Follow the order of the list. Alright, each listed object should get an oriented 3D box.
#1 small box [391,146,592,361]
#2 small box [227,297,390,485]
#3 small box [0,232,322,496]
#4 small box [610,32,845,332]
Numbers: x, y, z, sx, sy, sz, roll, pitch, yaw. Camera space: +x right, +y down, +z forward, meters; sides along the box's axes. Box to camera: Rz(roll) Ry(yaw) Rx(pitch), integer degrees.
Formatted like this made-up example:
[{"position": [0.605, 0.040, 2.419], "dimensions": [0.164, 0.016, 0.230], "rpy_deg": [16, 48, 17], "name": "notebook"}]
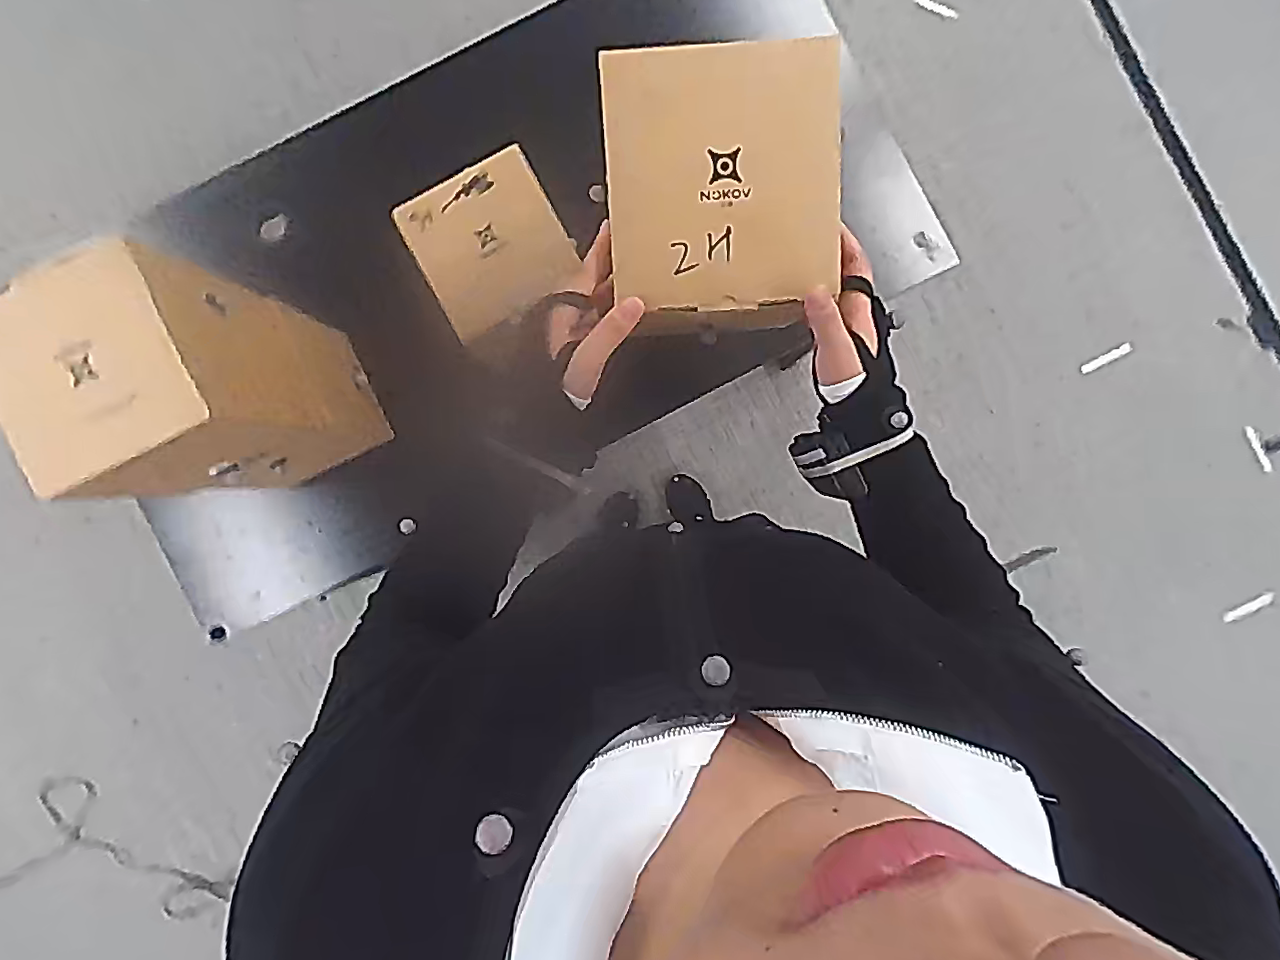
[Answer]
[{"position": [-0.174, -0.270, 0.698], "dimensions": [0.168, 0.176, 0.179], "rpy_deg": [-29, 90, 0], "name": "small box"}, {"position": [-0.464, -0.099, 0.695], "dimensions": [0.179, 0.176, 0.168], "rpy_deg": [-26, 90, -1], "name": "small box"}, {"position": [-0.465, -0.097, 0.532], "dimensions": [0.168, 0.176, 0.179], "rpy_deg": [-27, 91, 1], "name": "small box"}, {"position": [0.062, -0.229, 0.461], "dimensions": [0.168, 0.176, 0.179], "rpy_deg": [-2, 98, 2], "name": "small box"}]
